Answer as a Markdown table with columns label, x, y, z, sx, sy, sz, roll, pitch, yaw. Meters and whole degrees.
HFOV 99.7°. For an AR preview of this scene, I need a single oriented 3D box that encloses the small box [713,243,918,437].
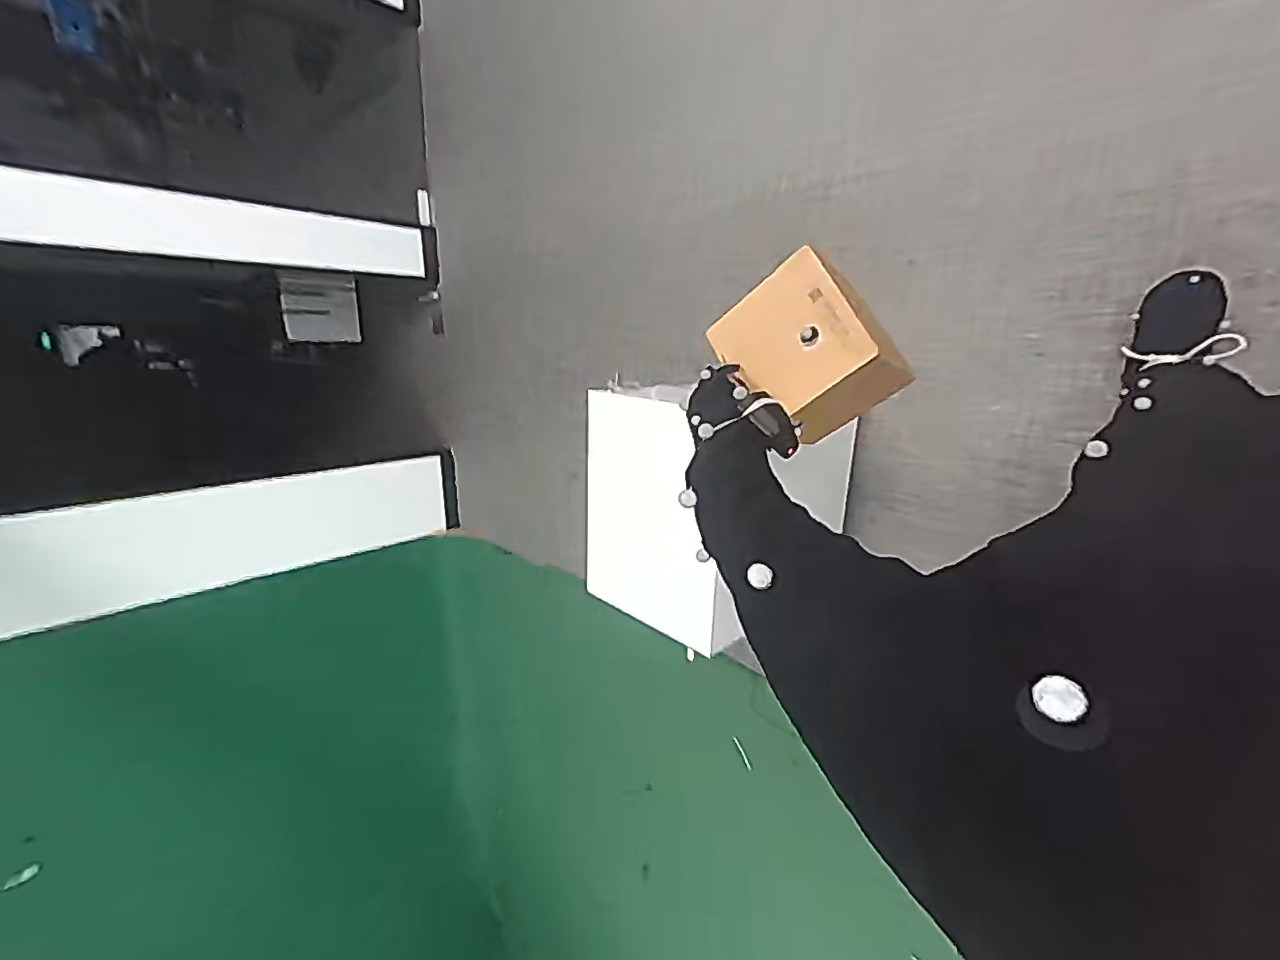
| label | x | y | z | sx | sy | sz | roll | pitch | yaw |
| --- | --- | --- | --- | --- | --- | --- | --- | --- | --- |
| small box | 0.236 | -0.173 | 0.715 | 0.176 | 0.179 | 0.168 | -37 | 67 | 33 |
